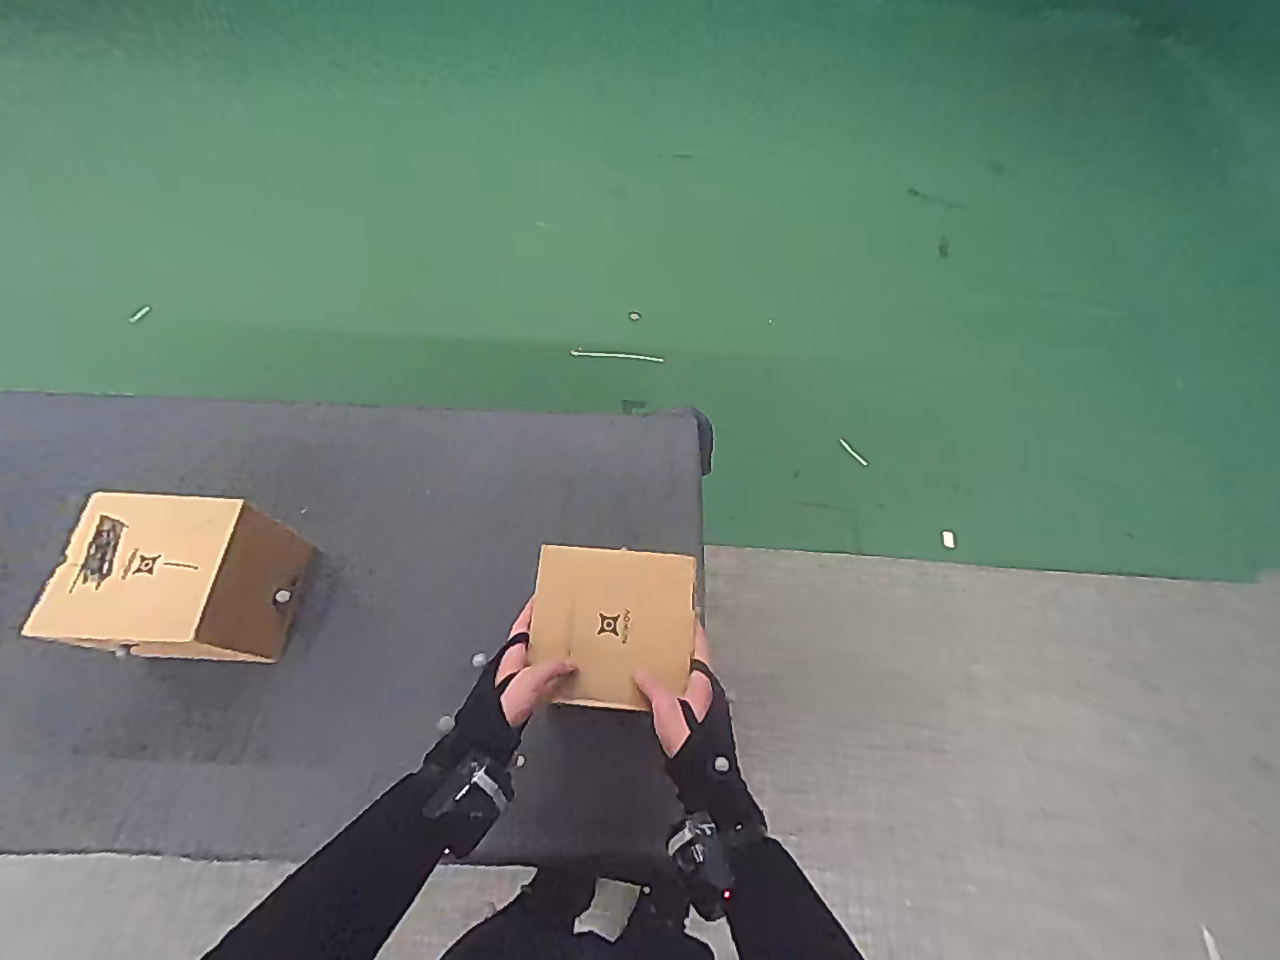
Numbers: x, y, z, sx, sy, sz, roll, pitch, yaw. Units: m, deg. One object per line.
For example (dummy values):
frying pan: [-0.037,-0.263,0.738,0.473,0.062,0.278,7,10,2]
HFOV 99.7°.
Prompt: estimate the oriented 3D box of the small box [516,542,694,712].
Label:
small box: [-0.032,0.181,0.643,0.179,0.176,0.168,3,66,2]

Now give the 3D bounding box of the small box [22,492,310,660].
small box: [-0.555,0.125,0.667,0.179,0.176,0.168,3,66,-2]
